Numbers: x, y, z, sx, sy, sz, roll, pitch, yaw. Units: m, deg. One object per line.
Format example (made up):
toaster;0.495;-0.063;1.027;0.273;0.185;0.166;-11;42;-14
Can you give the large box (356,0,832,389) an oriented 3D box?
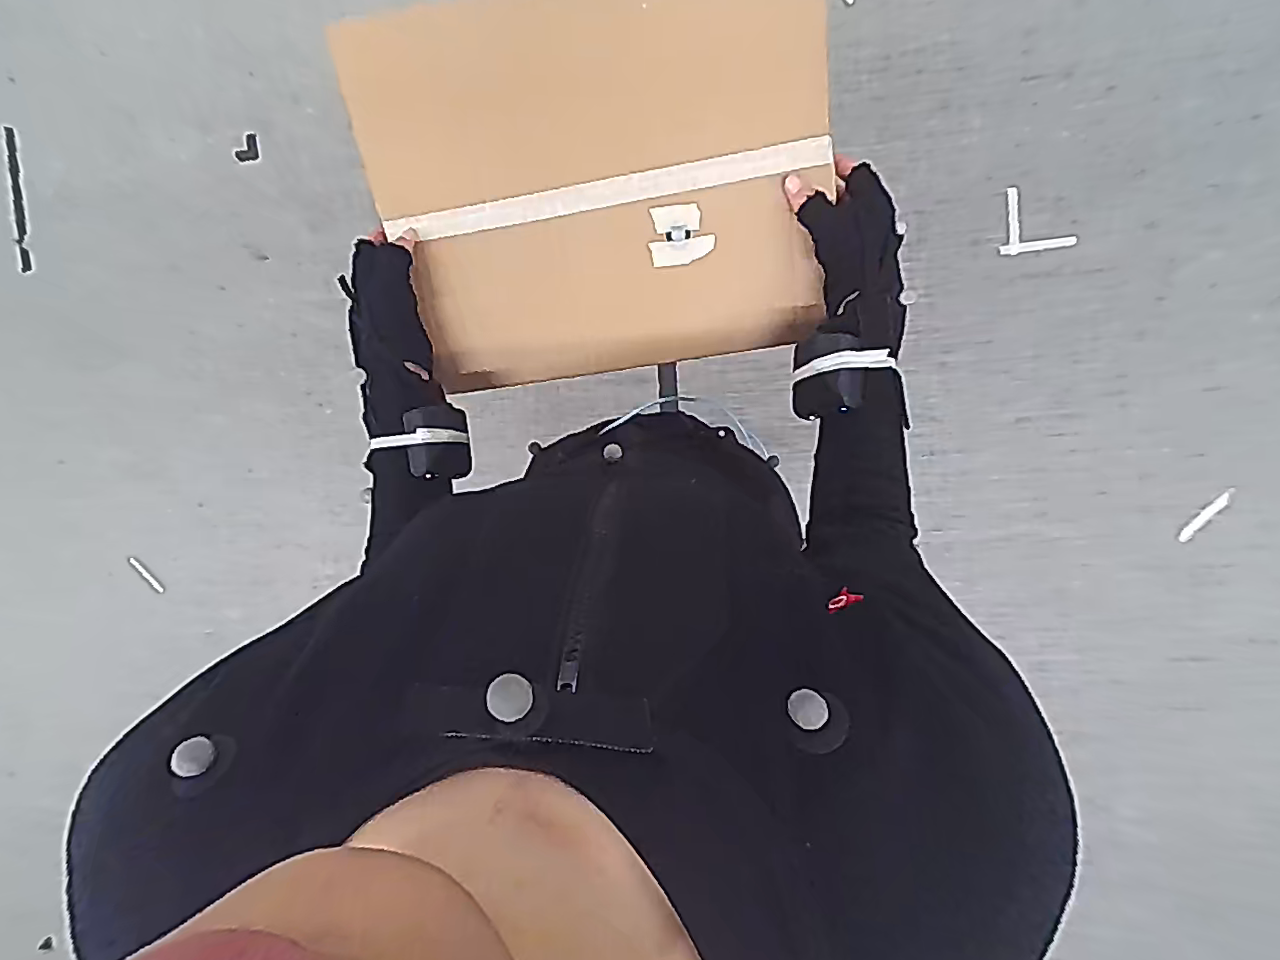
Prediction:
large box;-0.024;-0.316;0.637;0.408;0.320;0.320;-7;112;6
